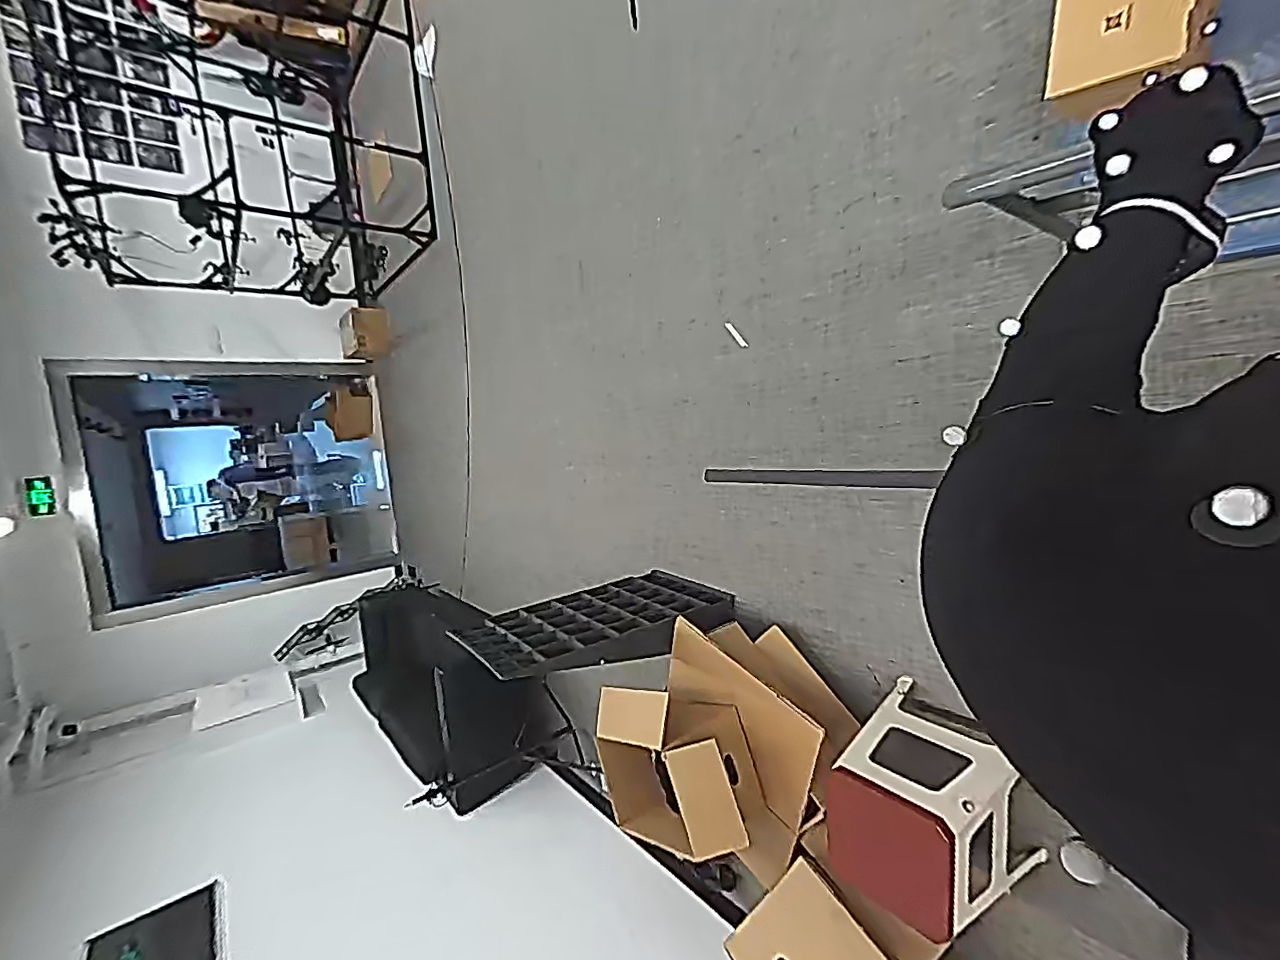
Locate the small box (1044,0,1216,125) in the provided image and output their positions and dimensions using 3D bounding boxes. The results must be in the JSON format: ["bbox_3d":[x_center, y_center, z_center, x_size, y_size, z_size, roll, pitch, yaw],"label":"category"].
[{"bbox_3d":[0.812,-0.727,0.900,0.179,0.176,0.168,13,107,49],"label":"small box"}]
